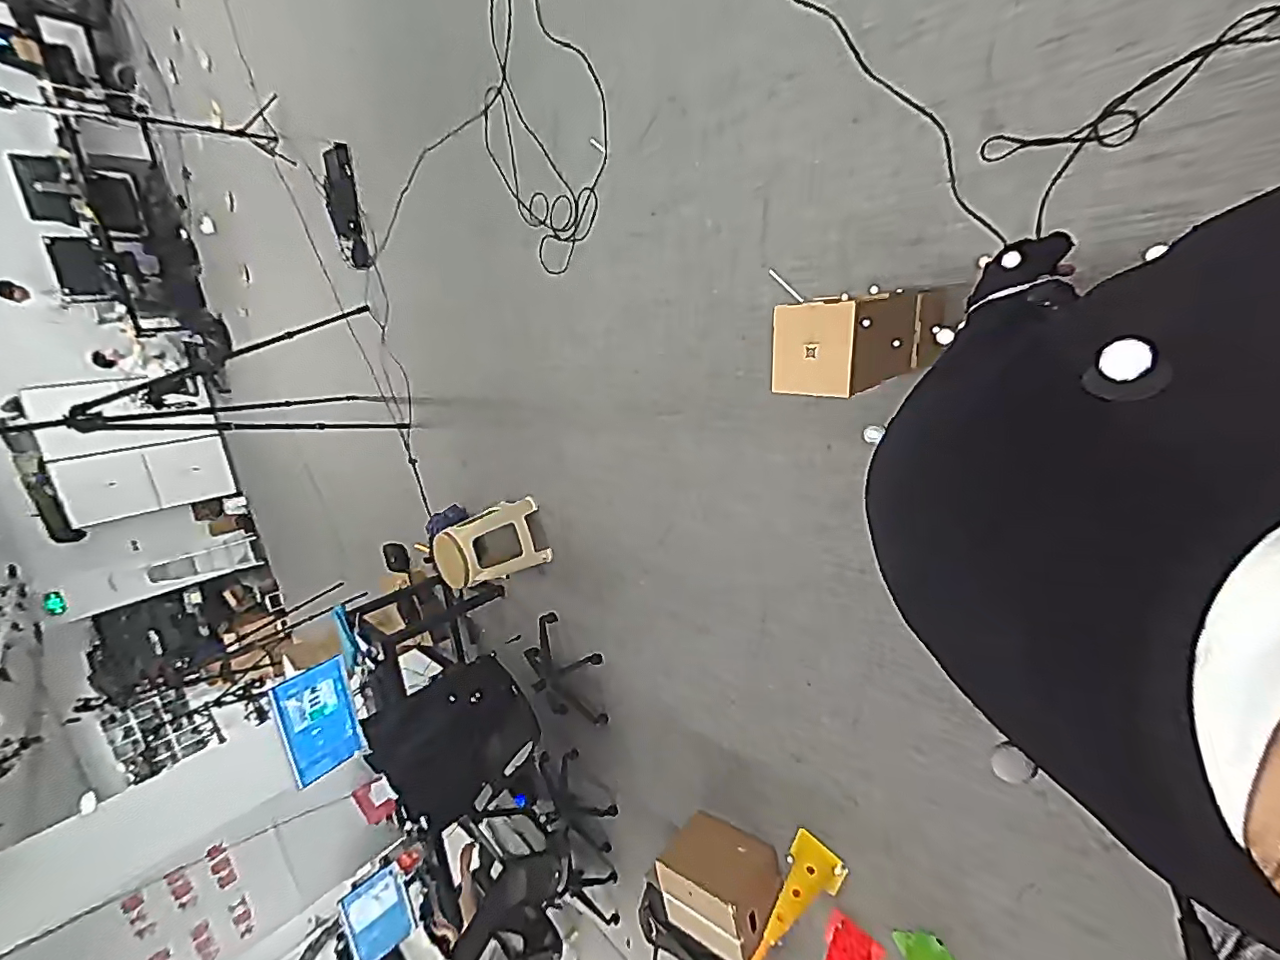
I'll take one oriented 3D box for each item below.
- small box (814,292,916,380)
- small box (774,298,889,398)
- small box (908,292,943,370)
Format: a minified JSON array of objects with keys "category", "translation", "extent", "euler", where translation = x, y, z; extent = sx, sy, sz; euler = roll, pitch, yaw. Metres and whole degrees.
[{"category":"small box","translation":[0.499,-0.322,1.205],"extent":[0.168,0.176,0.179],"euler":[13,114,42]},{"category":"small box","translation":[0.389,-0.271,1.097],"extent":[0.168,0.176,0.179],"euler":[13,113,42]},{"category":"small box","translation":[0.616,-0.364,1.314],"extent":[0.179,0.176,0.168],"euler":[12,113,41]}]
